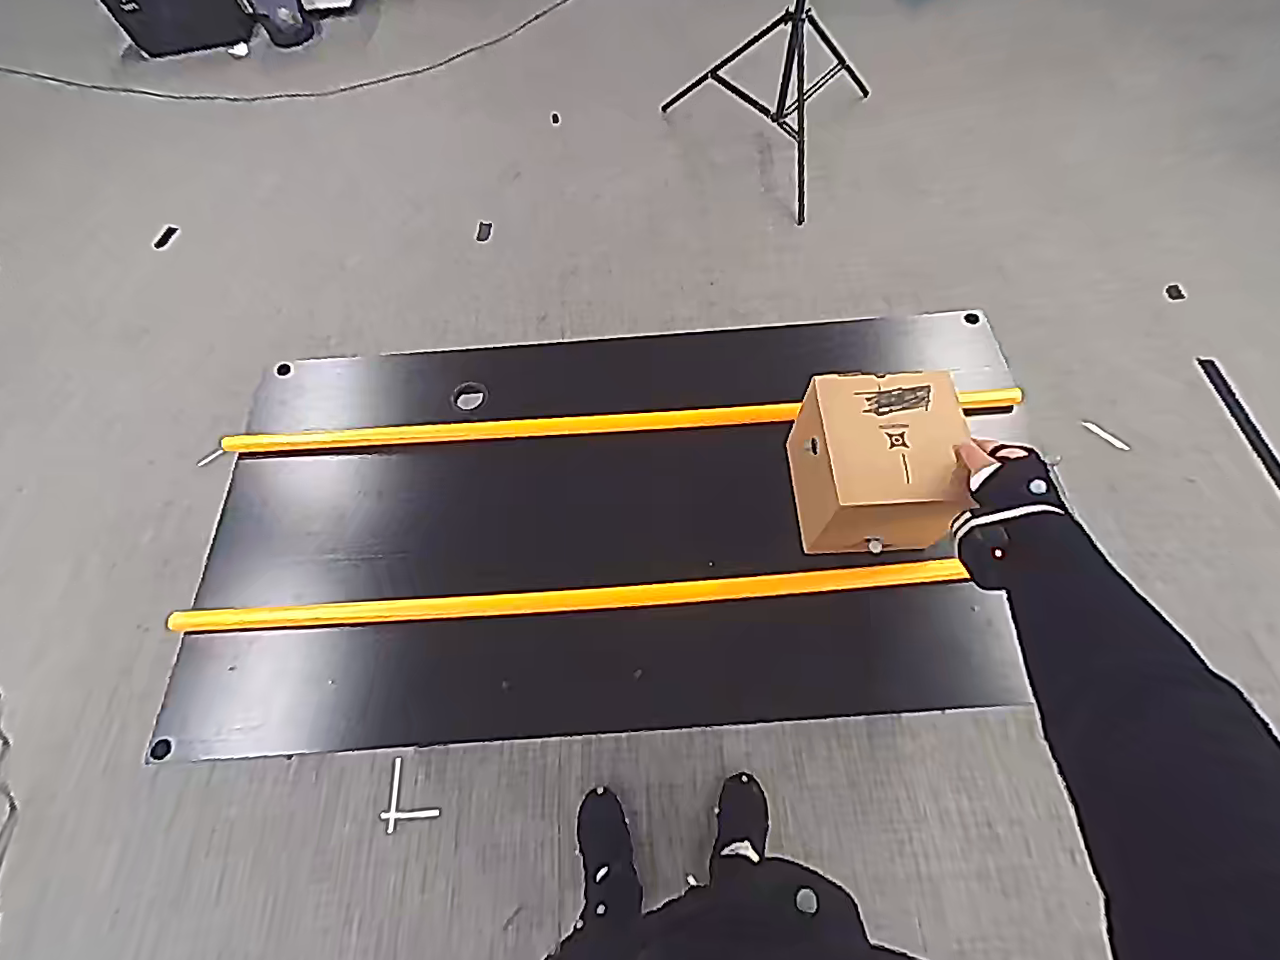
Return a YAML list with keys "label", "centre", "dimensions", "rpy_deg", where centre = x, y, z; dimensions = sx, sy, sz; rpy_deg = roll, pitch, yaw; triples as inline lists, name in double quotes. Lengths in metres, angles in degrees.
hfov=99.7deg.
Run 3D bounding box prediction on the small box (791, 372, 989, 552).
- label: "small box"
  centre: [0.301, -0.018, 0.698]
  dimensions: [0.168, 0.176, 0.179]
  rpy_deg: [-2, 64, 2]
